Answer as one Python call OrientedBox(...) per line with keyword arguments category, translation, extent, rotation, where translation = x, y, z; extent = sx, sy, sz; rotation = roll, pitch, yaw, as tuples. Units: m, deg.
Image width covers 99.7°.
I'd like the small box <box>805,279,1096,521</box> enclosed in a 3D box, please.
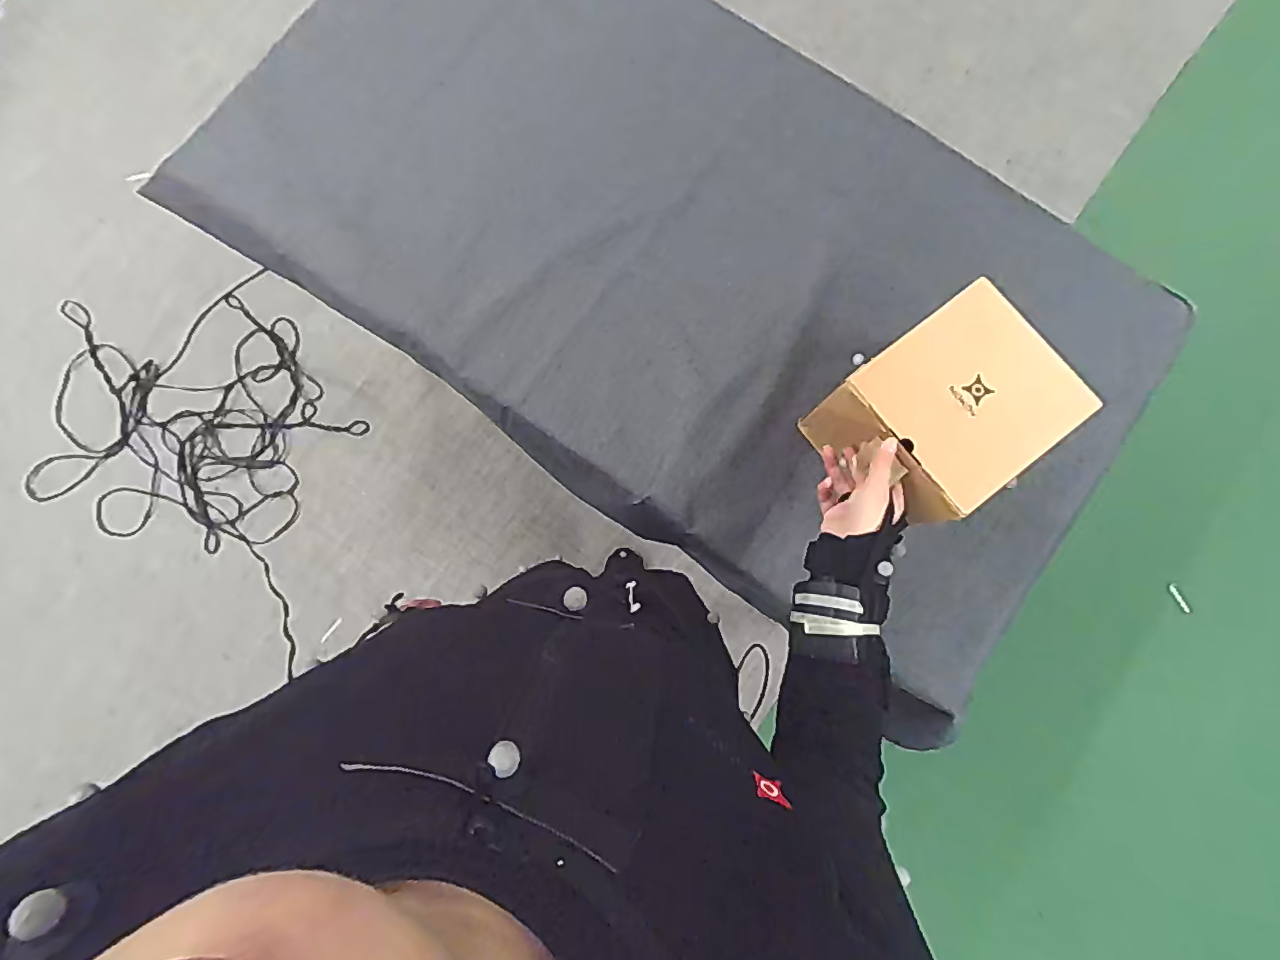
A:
OrientedBox(category="small box", translation=(0.312, -0.071, 0.586), extent=(0.179, 0.176, 0.168), rotation=(-38, 84, -4))
